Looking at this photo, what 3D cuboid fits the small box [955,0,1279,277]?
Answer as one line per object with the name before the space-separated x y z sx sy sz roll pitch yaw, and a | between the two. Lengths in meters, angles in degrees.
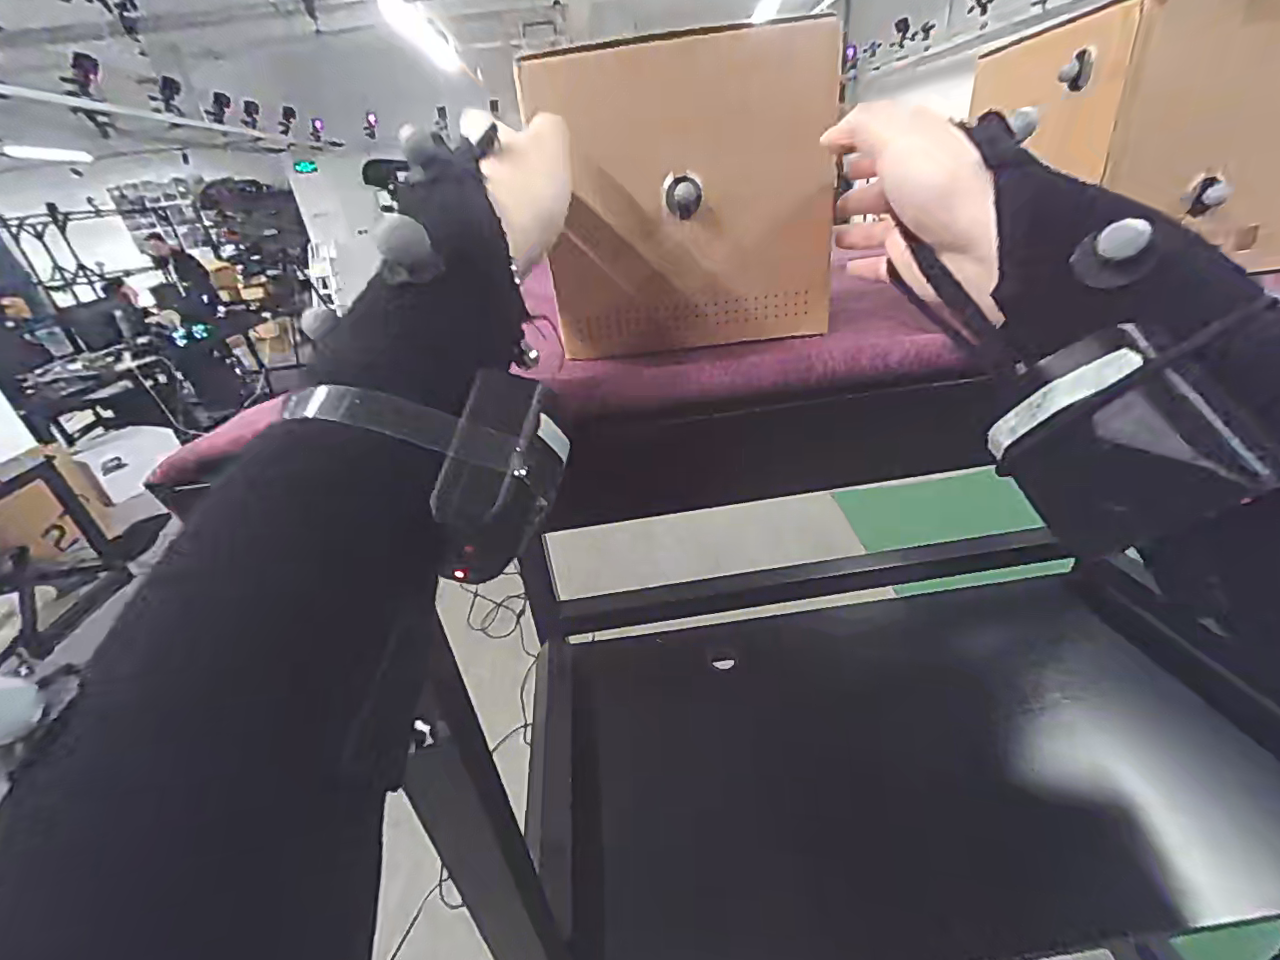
small box | 0.366 -0.253 0.402 0.168 0.176 0.179 -6 28 3
